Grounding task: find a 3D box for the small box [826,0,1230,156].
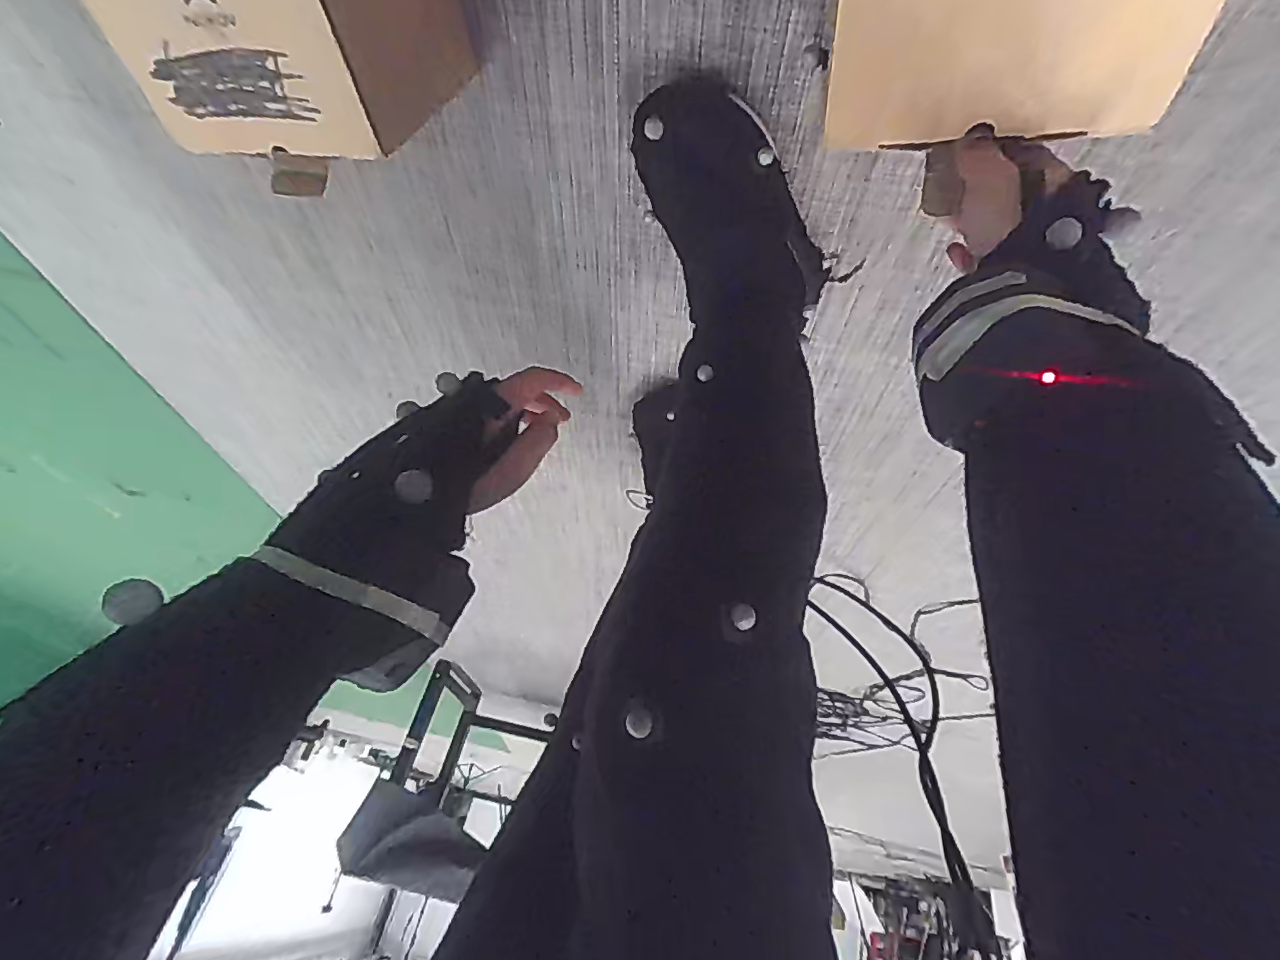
[{"bbox_3d":[0.191,-0.299,0.279,0.168,0.176,0.179,4,143,14],"label":"small box"}]
